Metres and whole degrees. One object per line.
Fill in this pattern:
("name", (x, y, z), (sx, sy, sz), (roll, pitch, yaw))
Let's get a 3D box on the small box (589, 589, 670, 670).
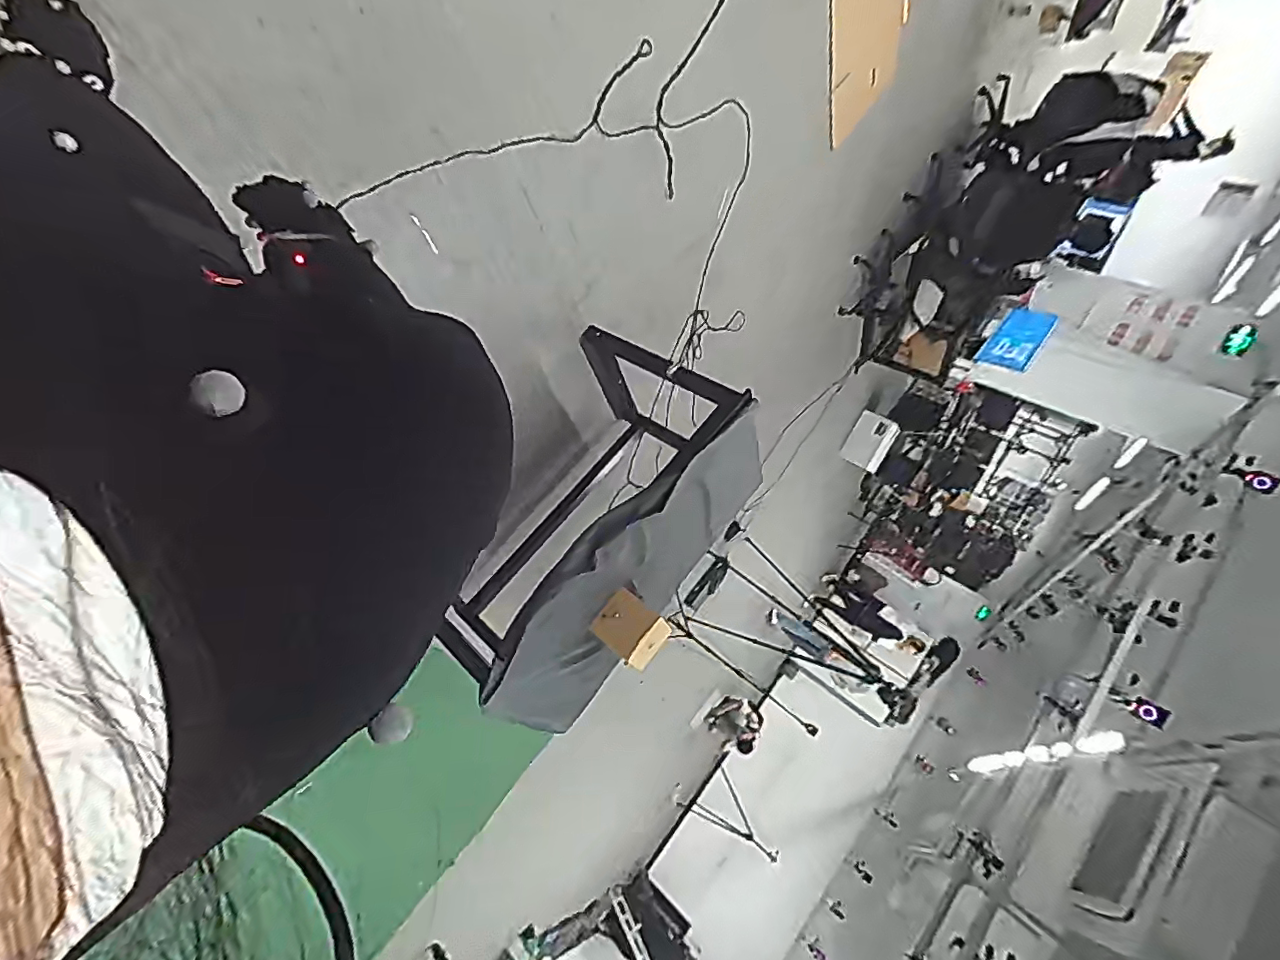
("small box", (-0.031, 0.472, 1.717), (0.168, 0.176, 0.179), (-50, 150, -14))
